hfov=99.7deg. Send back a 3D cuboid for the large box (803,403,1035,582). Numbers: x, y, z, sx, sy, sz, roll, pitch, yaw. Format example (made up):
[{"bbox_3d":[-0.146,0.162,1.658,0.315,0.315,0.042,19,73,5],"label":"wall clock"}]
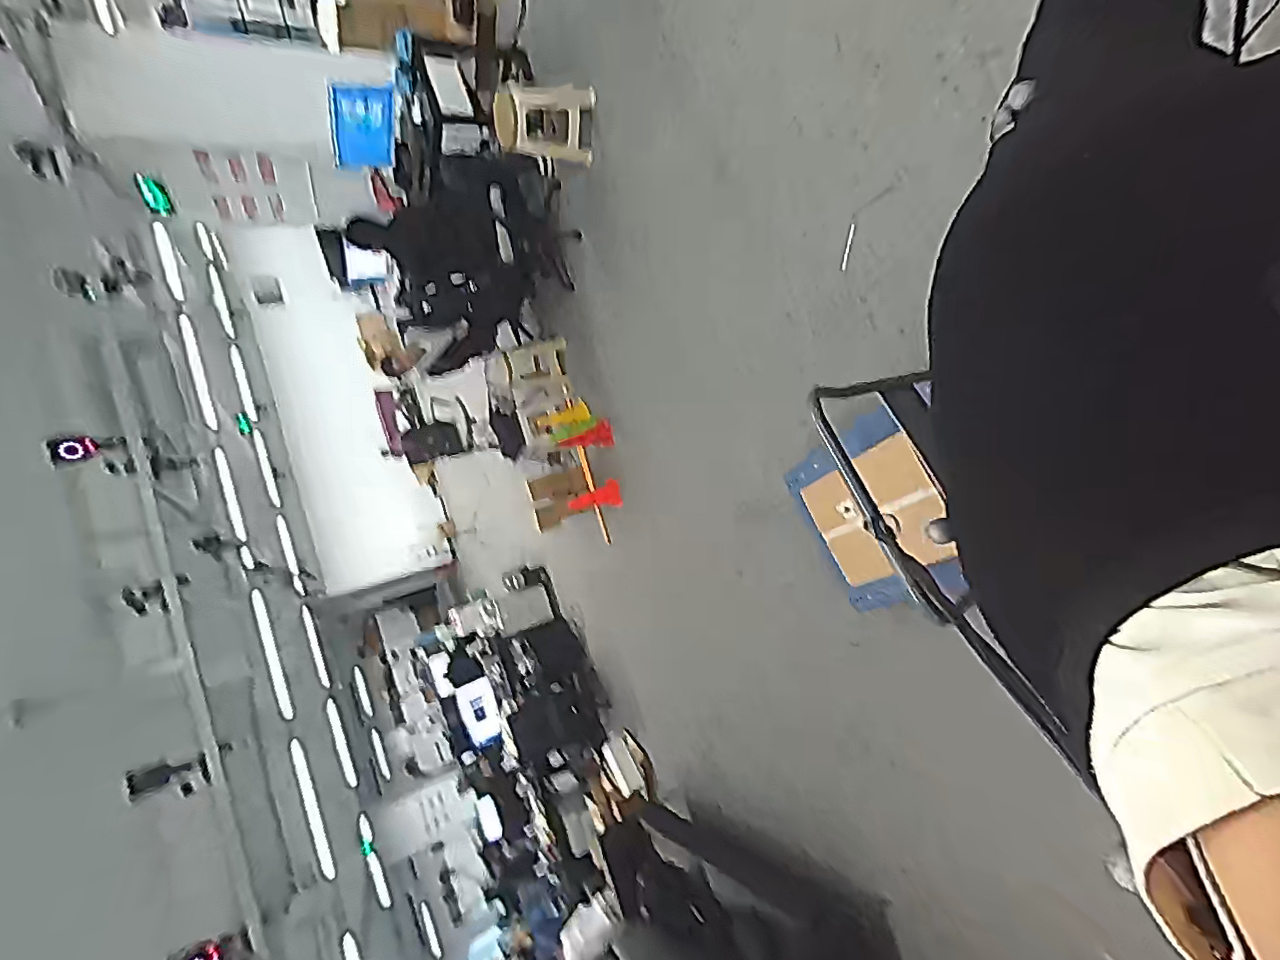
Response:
[{"bbox_3d":[0.741,0.041,1.485,0.320,0.320,0.408,66,151,14],"label":"large box"}]
